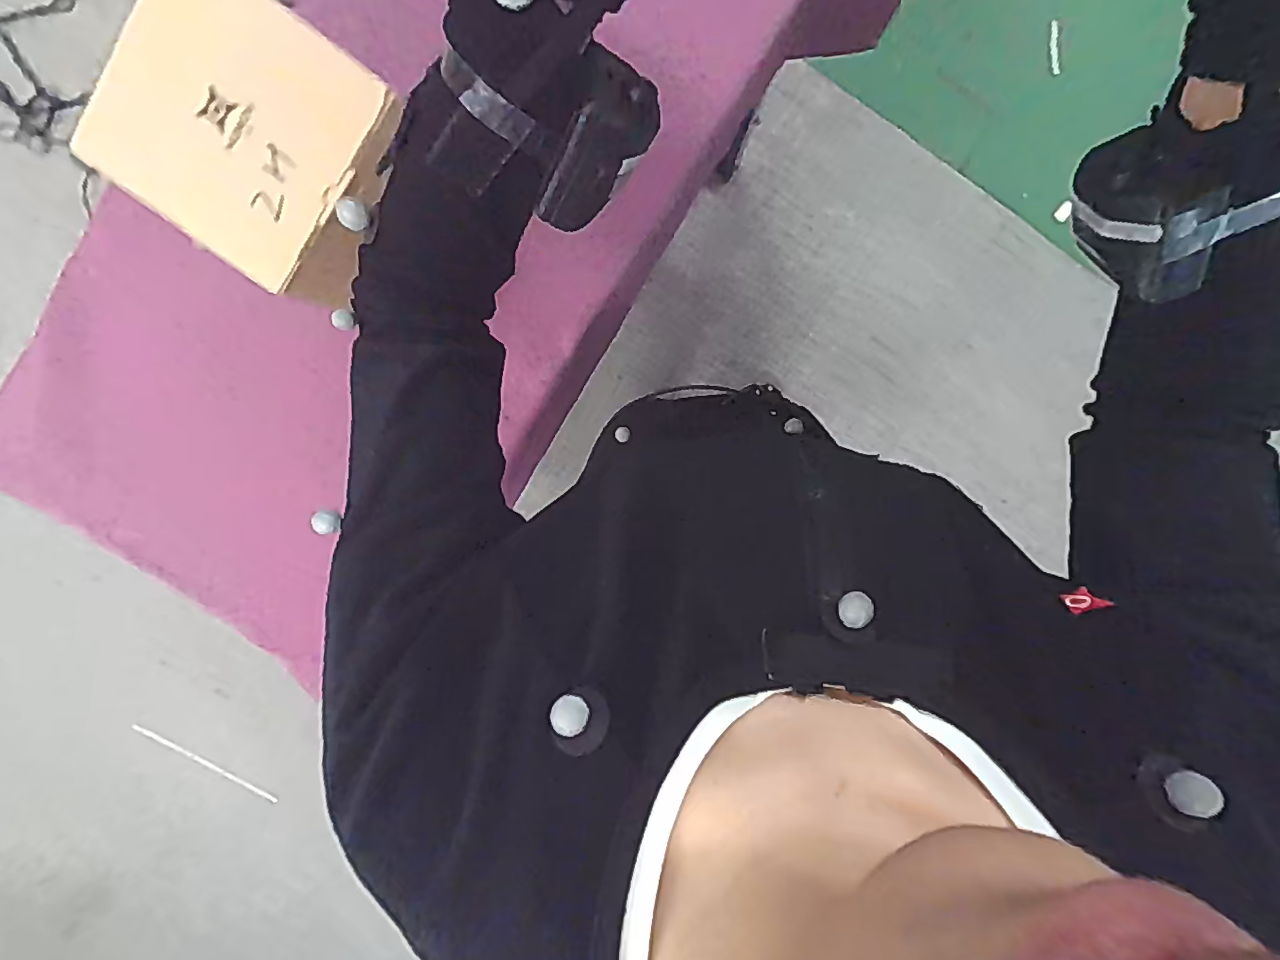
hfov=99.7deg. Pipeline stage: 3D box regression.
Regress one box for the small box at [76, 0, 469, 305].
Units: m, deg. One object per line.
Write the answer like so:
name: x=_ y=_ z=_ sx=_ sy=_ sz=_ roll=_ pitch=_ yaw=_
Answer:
small box: x=-0.280 y=-0.269 z=0.454 sx=0.179 sy=0.176 sz=0.168 roll=36 pitch=99 yaw=-4
